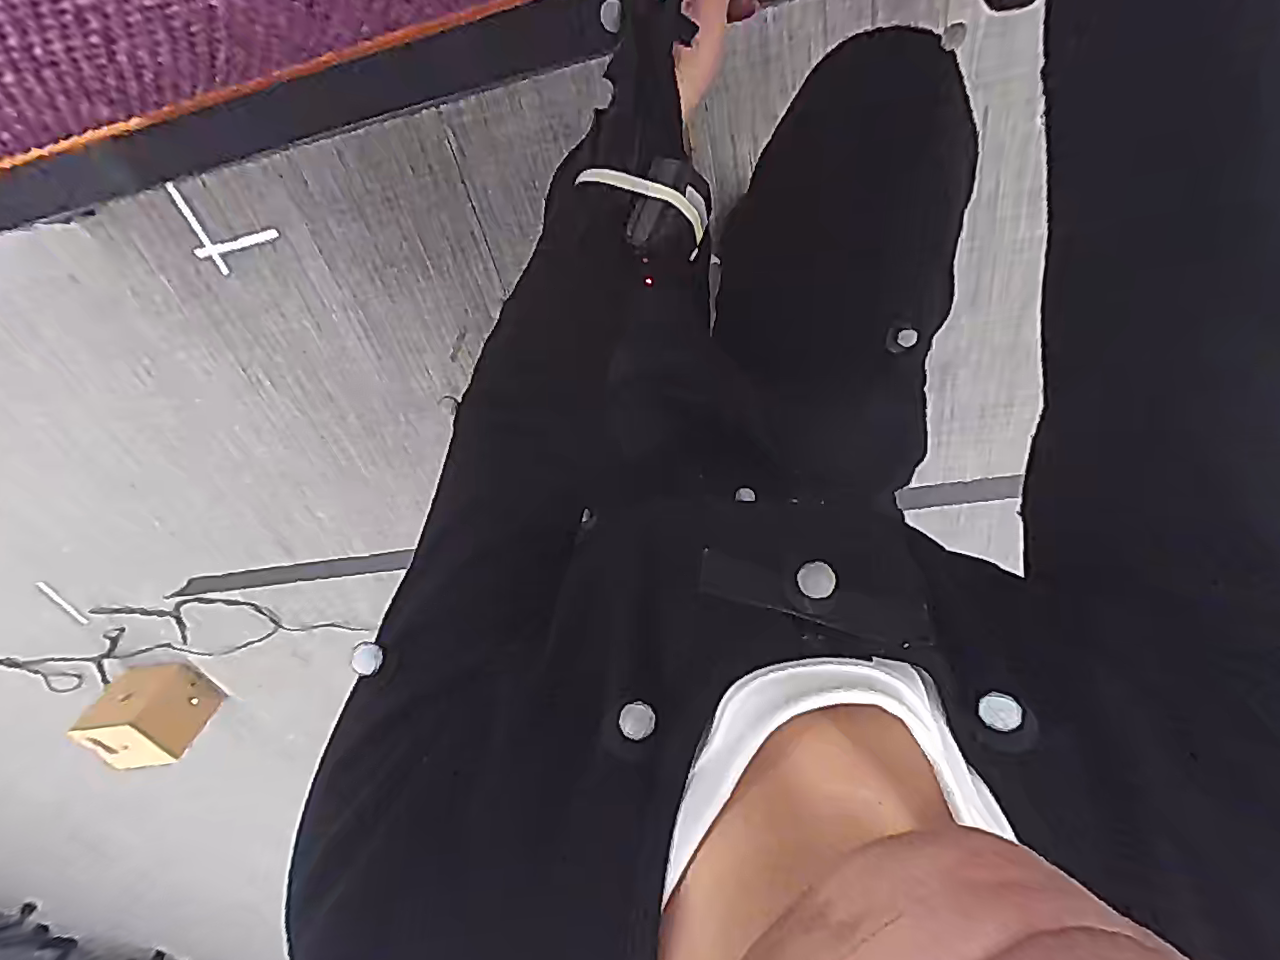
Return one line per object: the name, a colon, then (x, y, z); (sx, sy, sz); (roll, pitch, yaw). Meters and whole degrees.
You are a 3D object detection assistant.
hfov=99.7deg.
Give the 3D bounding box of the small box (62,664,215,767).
small box: (-1.212, 0.574, 1.323); (0.179, 0.176, 0.168); (-9, 124, 9)
